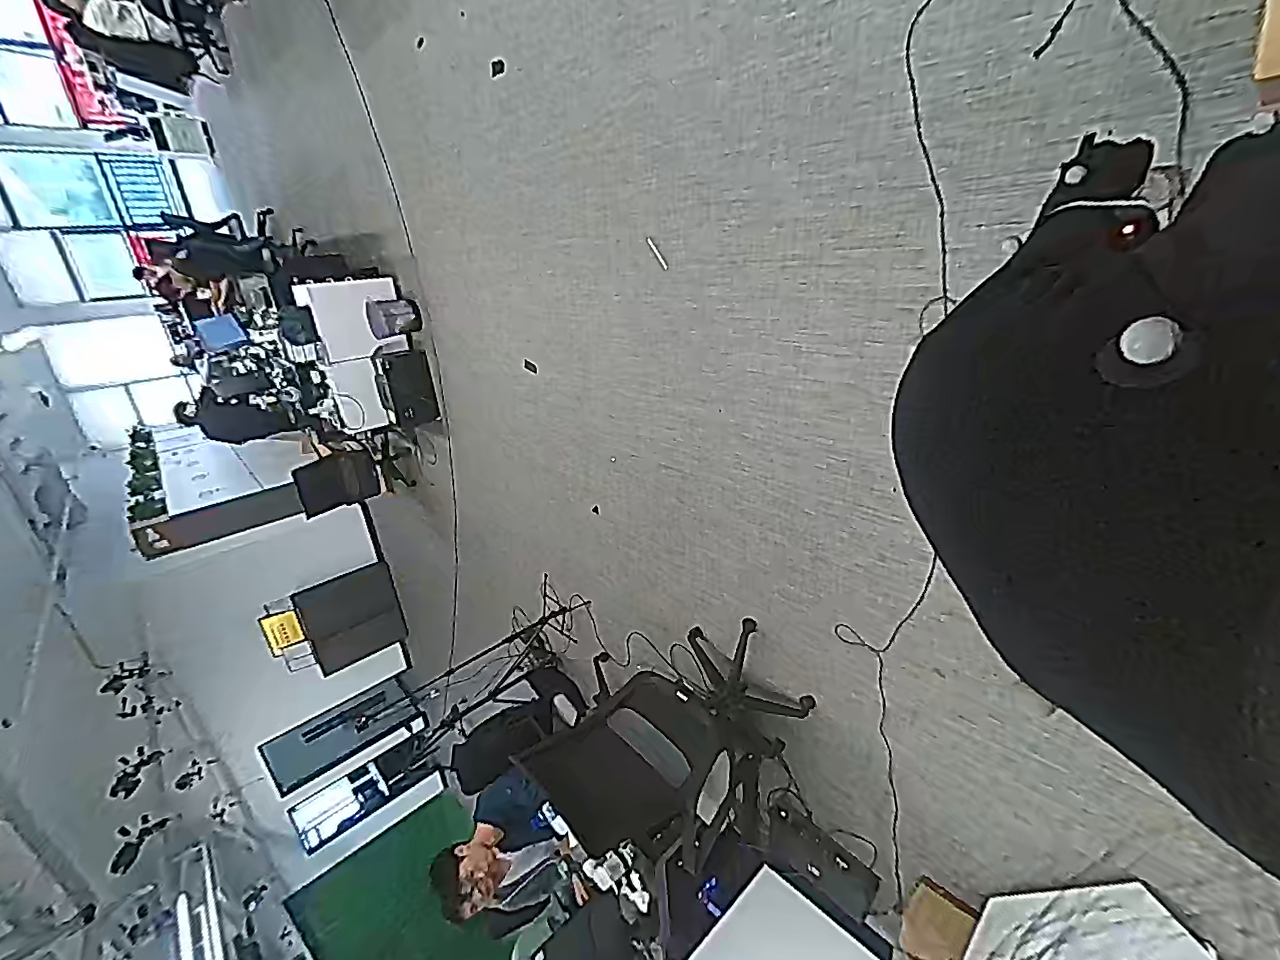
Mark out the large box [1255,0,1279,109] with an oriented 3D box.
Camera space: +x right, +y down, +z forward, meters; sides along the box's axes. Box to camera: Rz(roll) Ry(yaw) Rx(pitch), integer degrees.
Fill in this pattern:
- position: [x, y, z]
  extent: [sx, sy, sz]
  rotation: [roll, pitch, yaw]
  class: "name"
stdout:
- position: [1.044, -0.697, 0.632]
  extent: [0.408, 0.320, 0.320]
  rotation: [12, 116, 46]
  class: "large box"
